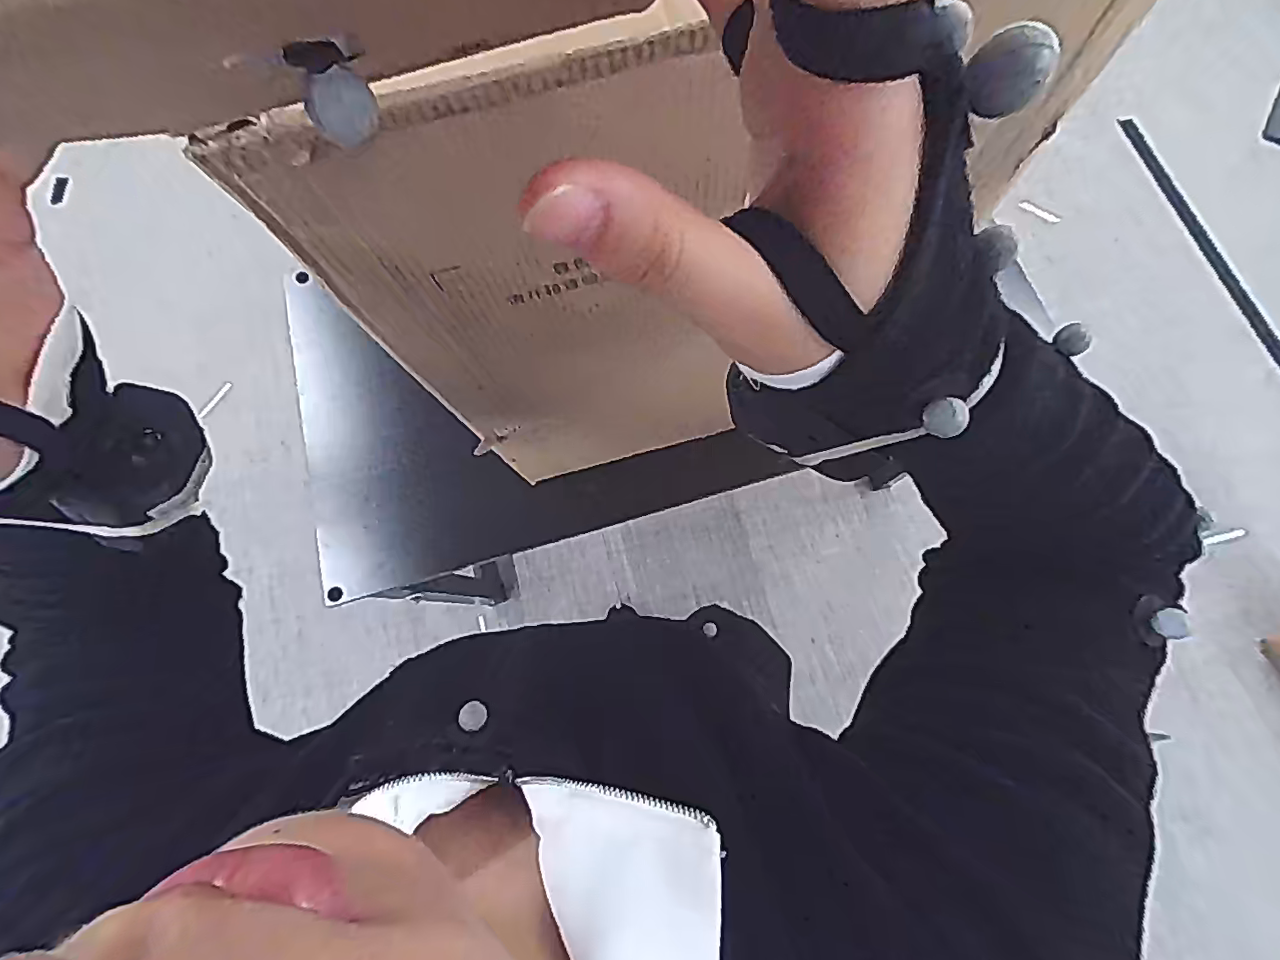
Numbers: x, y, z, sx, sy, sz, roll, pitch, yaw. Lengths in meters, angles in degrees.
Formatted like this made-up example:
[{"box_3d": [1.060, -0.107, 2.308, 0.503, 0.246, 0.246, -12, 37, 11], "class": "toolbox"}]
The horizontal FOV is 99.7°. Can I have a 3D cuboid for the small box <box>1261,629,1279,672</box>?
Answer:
[{"box_3d": [1.691, 0.428, 1.295, 0.179, 0.176, 0.168, -23, 75, -1], "class": "small box"}]

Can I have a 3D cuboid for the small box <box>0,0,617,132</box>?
[{"box_3d": [-0.085, -0.152, 0.057, 0.168, 0.179, 0.176, -12, 36, 5], "class": "small box"}]
